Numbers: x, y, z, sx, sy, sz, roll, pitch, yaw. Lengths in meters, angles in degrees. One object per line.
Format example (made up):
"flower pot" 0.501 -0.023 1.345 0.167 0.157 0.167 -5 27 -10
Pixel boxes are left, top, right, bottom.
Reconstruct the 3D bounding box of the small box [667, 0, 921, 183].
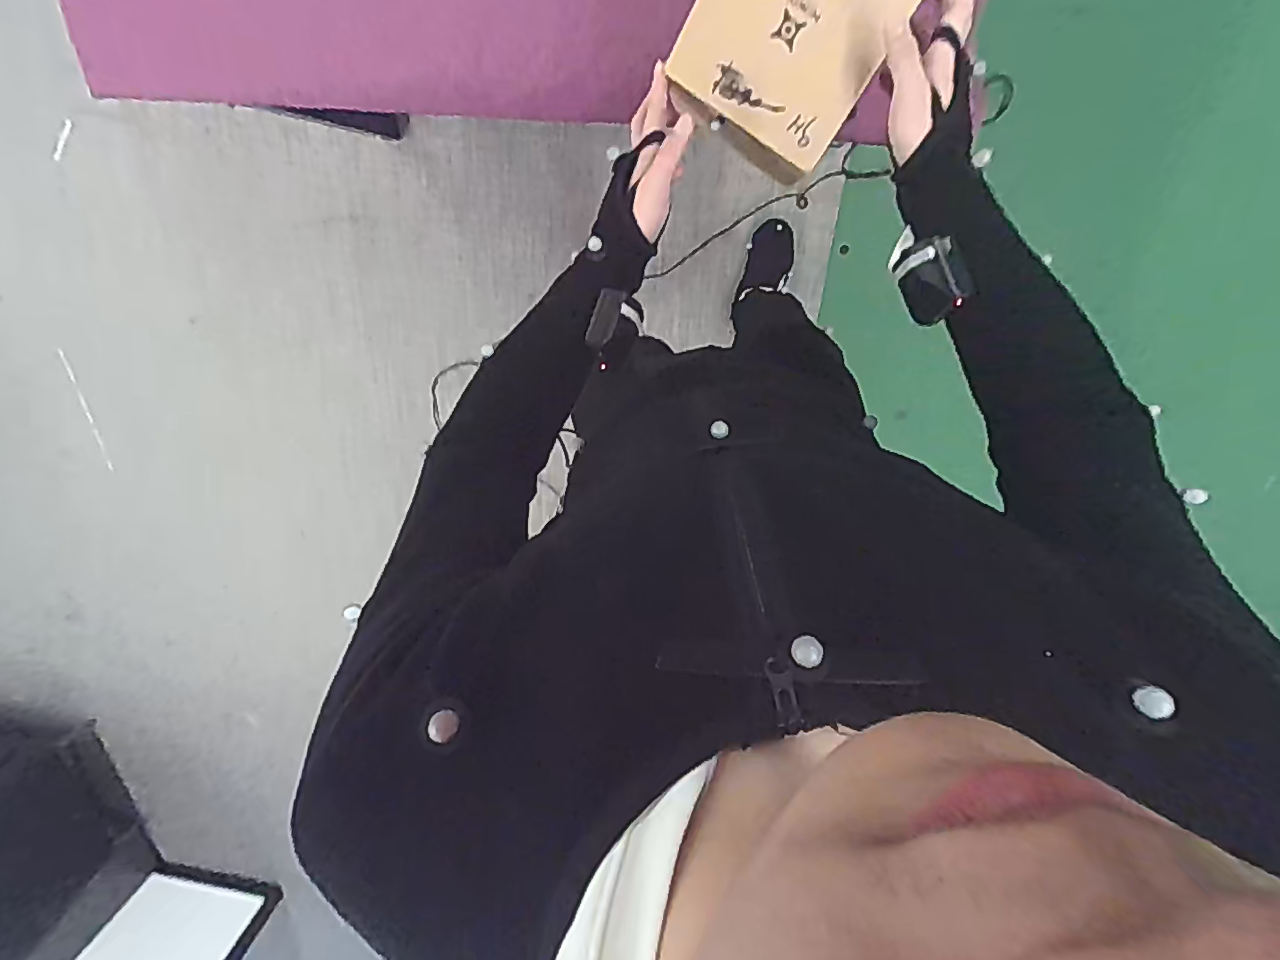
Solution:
"small box" 0.143 -0.429 0.538 0.168 0.176 0.179 31 115 -6
